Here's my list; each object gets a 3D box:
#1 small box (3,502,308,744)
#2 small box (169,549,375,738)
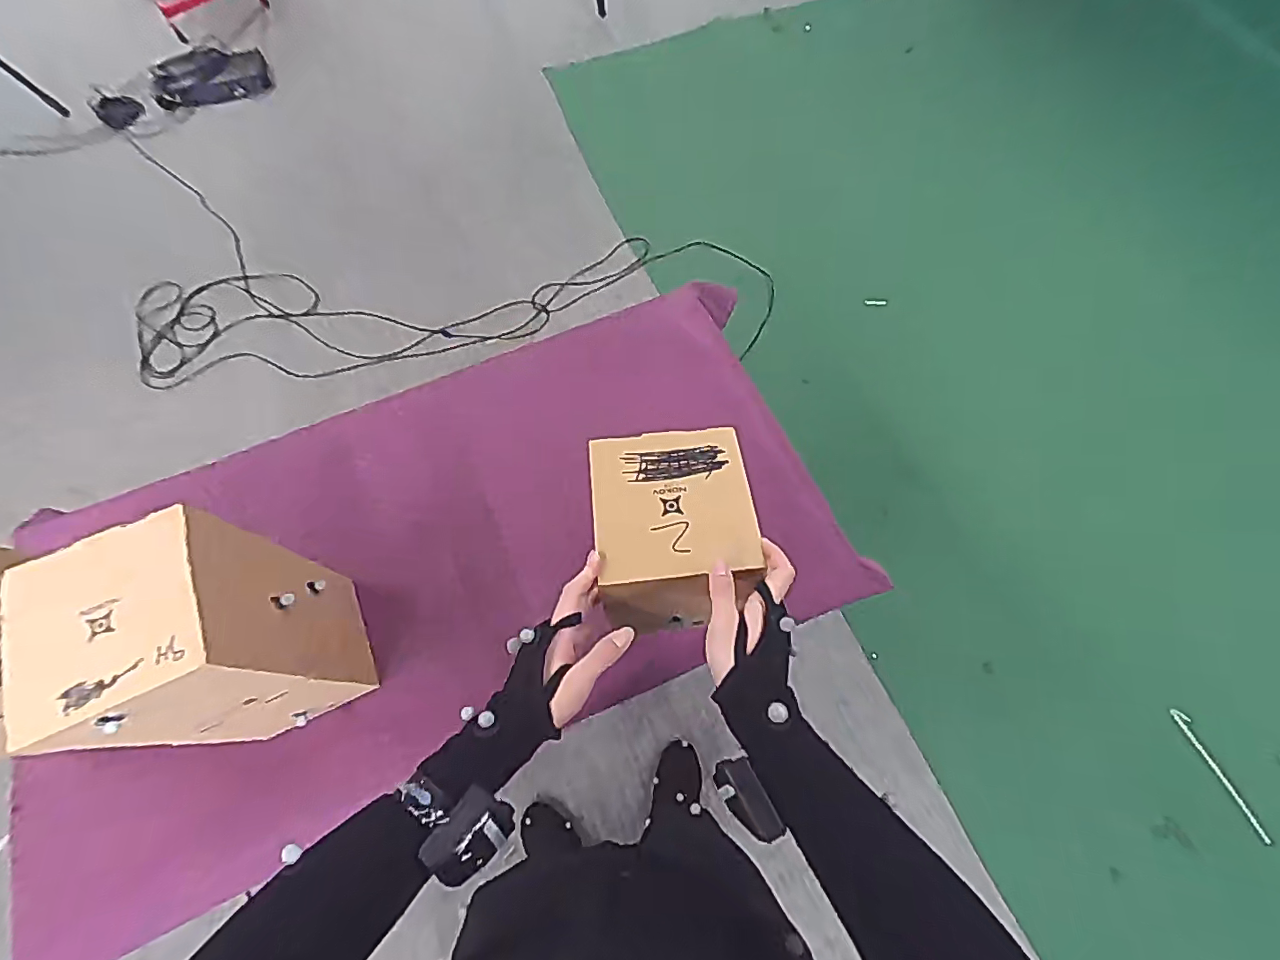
[{"bbox_3d":[-0.491,0.155,0.570,0.168,0.176,0.179,-24,68,-8],"label":"small box"},{"bbox_3d":[-0.487,0.221,0.721,0.168,0.176,0.179,-24,69,-8],"label":"small box"}]
